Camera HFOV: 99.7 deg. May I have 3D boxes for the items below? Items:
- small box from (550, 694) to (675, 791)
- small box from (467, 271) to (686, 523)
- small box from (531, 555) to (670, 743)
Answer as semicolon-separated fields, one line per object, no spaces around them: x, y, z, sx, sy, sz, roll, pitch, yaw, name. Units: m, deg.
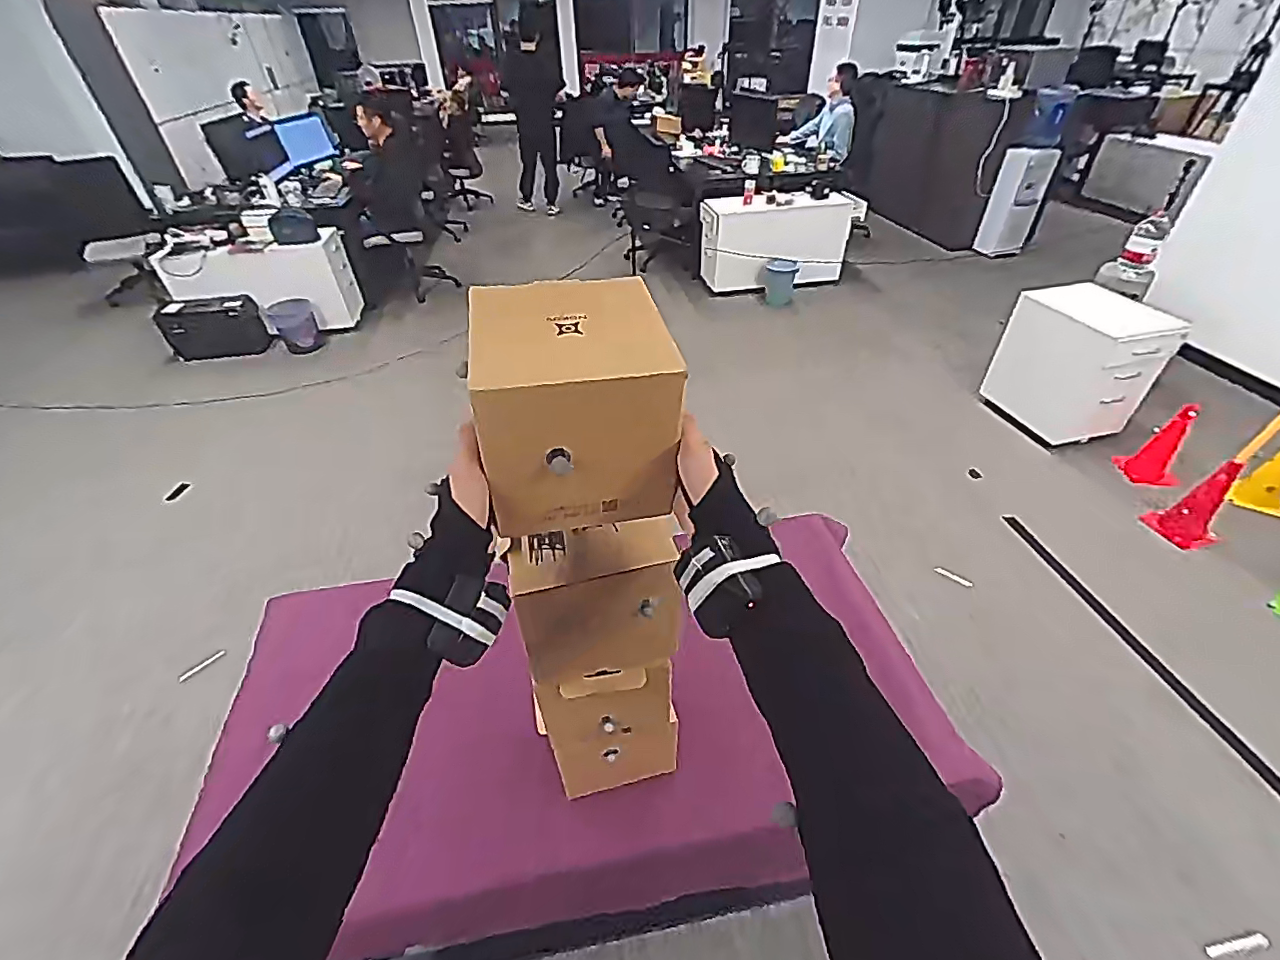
-0.049;0.359;0.851;0.179;0.176;0.168;-10;41;-10;small box
-0.060;-0.074;0.507;0.168;0.176;0.179;-7;44;-10;small box
-0.055;0.231;0.748;0.168;0.176;0.179;-7;40;-5;small box
